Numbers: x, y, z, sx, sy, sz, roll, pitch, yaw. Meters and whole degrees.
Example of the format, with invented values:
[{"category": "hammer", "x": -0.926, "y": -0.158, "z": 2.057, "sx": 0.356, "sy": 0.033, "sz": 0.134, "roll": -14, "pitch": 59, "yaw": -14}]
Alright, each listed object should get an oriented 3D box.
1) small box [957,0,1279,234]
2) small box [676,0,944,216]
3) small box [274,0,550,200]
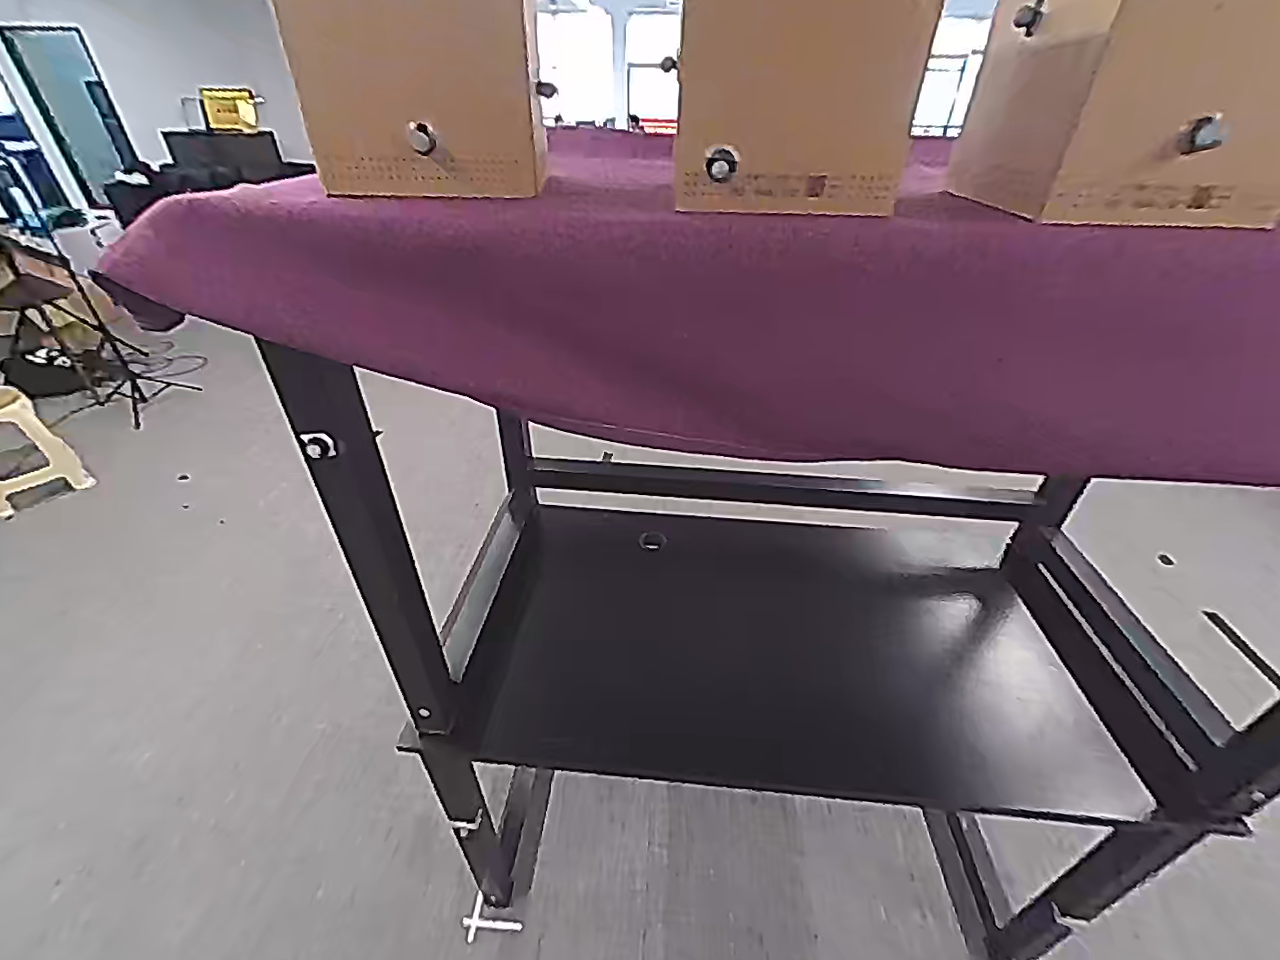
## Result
[{"category": "small box", "x": 0.375, "y": -0.294, "z": 0.405, "sx": 0.168, "sy": 0.176, "sz": 0.179, "roll": 2, "pitch": 35, "yaw": 3}, {"category": "small box", "x": 0.116, "y": -0.312, "z": 0.425, "sx": 0.168, "sy": 0.176, "sz": 0.179, "roll": 3, "pitch": 34, "yaw": 2}, {"category": "small box", "x": -0.170, "y": -0.343, "z": 0.460, "sx": 0.179, "sy": 0.176, "sz": 0.168, "roll": -1, "pitch": 35, "yaw": -5}]
